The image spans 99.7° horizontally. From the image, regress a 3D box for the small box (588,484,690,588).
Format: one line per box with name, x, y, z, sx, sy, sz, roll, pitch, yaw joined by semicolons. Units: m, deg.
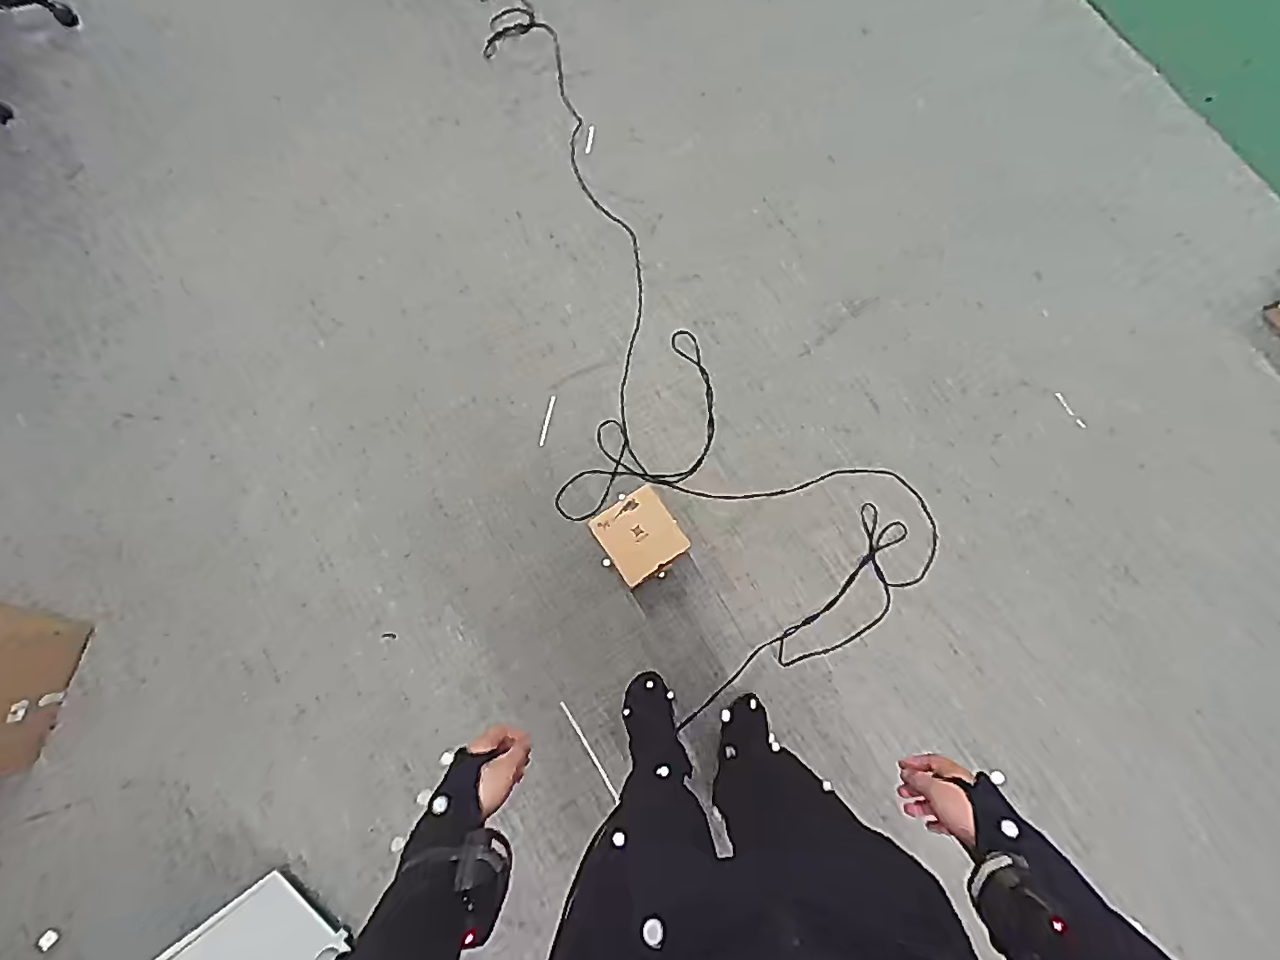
small box;-0.003;0.135;1.269;0.168;0.176;0.179;-33;81;-8
